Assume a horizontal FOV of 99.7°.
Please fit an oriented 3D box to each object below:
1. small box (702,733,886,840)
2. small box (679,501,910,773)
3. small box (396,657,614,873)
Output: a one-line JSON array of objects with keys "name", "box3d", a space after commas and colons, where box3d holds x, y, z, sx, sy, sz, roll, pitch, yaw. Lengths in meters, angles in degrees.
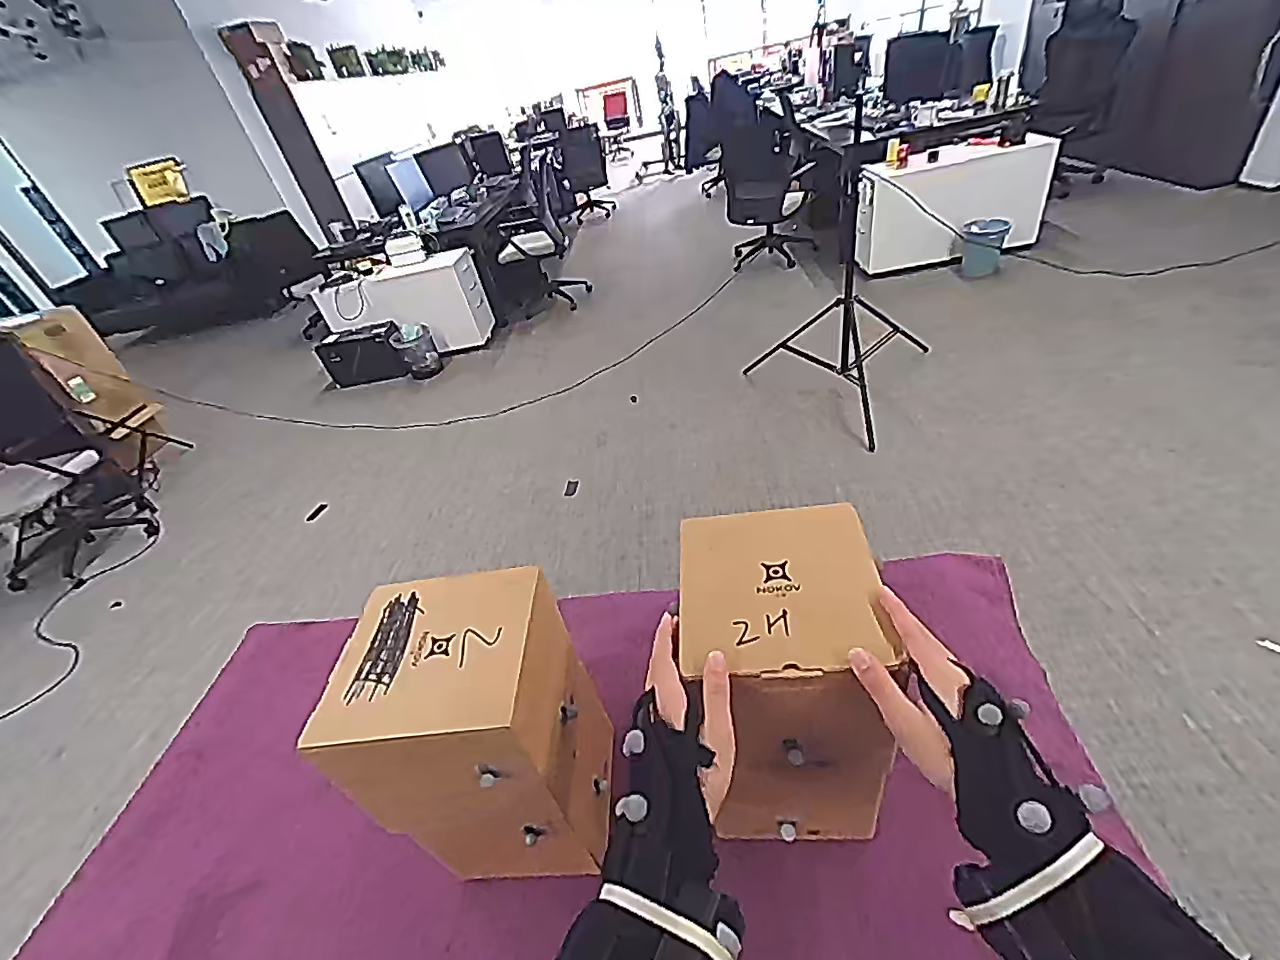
[{"name": "small box", "box3d": [0.159, 0.271, 0.603, 0.168, 0.176, 0.179, -6, 39, 10]}, {"name": "small box", "box3d": [0.131, 0.143, 0.501, 0.168, 0.176, 0.179, -7, 37, 11]}, {"name": "small box", "box3d": [-0.137, 0.330, 0.624, 0.179, 0.176, 0.168, -8, 37, 7]}]
